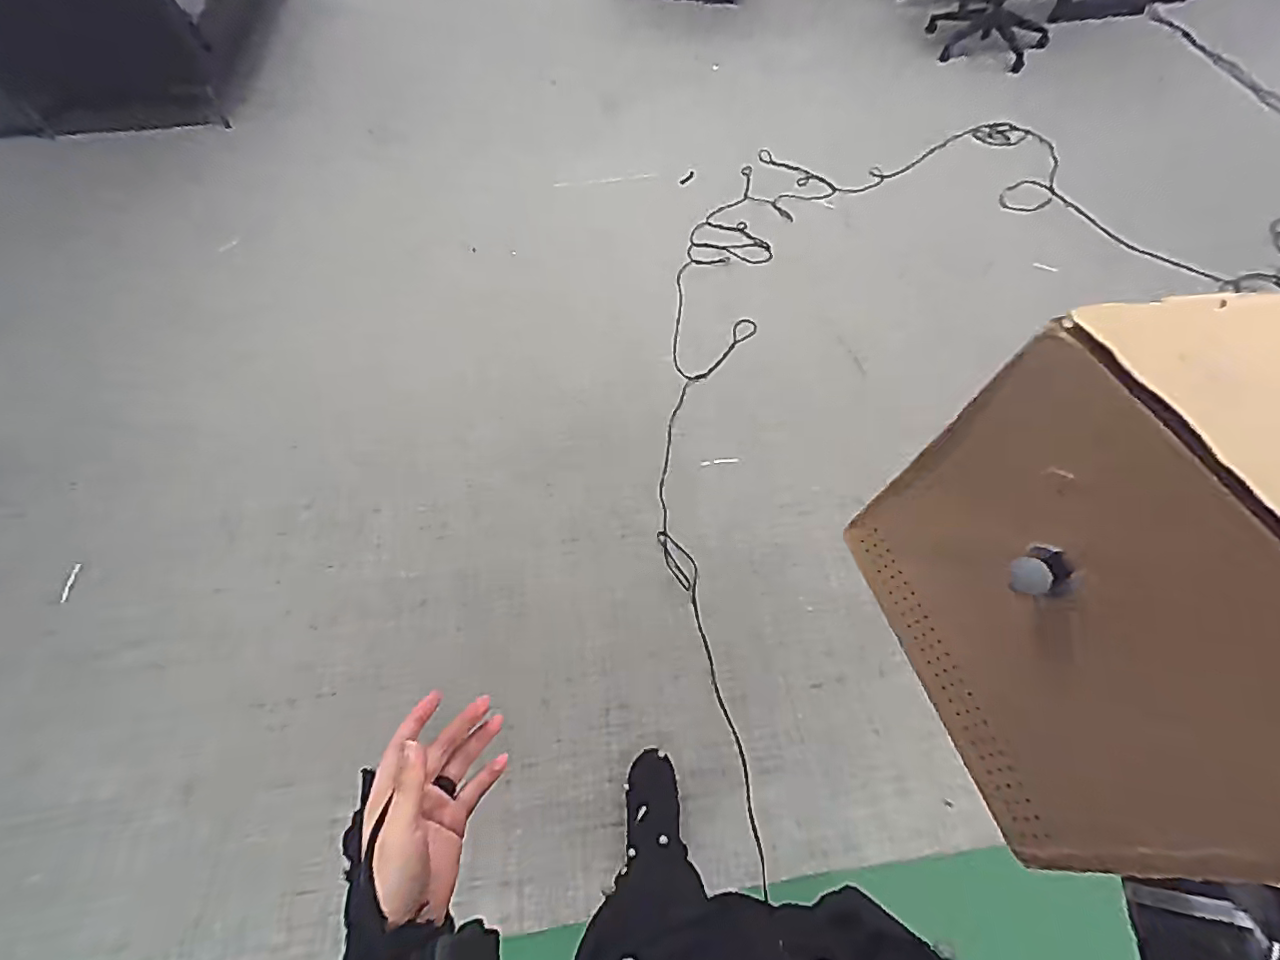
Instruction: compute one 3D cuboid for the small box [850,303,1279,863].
[{"bbox_3d":[0.232,0.047,0.247,0.168,0.176,0.179,-11,58,-17],"label":"small box"}]
